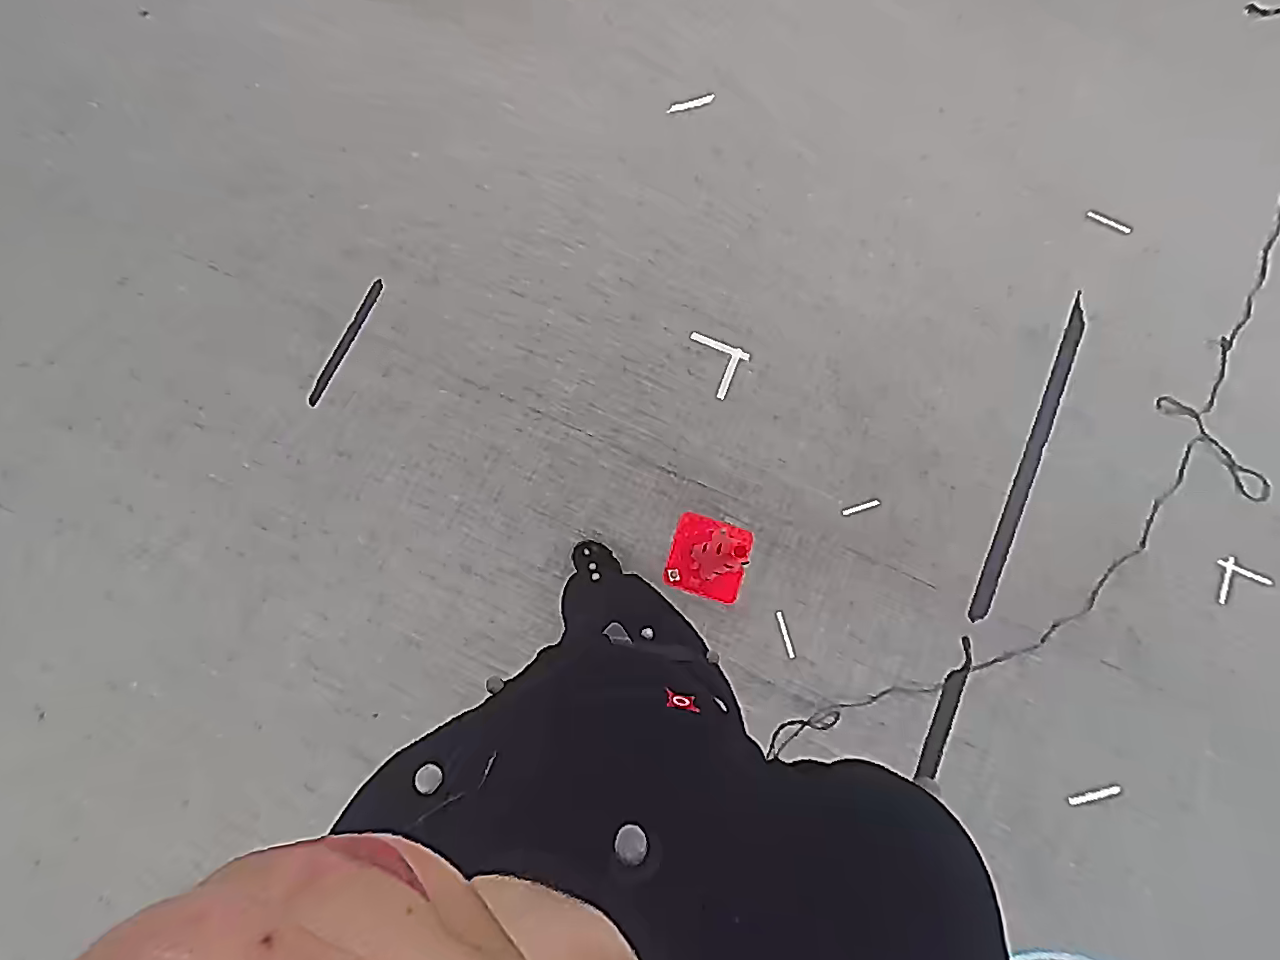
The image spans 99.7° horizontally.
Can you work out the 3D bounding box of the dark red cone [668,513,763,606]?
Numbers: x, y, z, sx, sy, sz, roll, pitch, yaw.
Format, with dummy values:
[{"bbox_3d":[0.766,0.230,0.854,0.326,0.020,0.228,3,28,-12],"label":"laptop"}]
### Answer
[{"bbox_3d":[0.195,0.166,1.192,0.201,0.394,0.202,17,80,-1],"label":"dark red cone"}]
